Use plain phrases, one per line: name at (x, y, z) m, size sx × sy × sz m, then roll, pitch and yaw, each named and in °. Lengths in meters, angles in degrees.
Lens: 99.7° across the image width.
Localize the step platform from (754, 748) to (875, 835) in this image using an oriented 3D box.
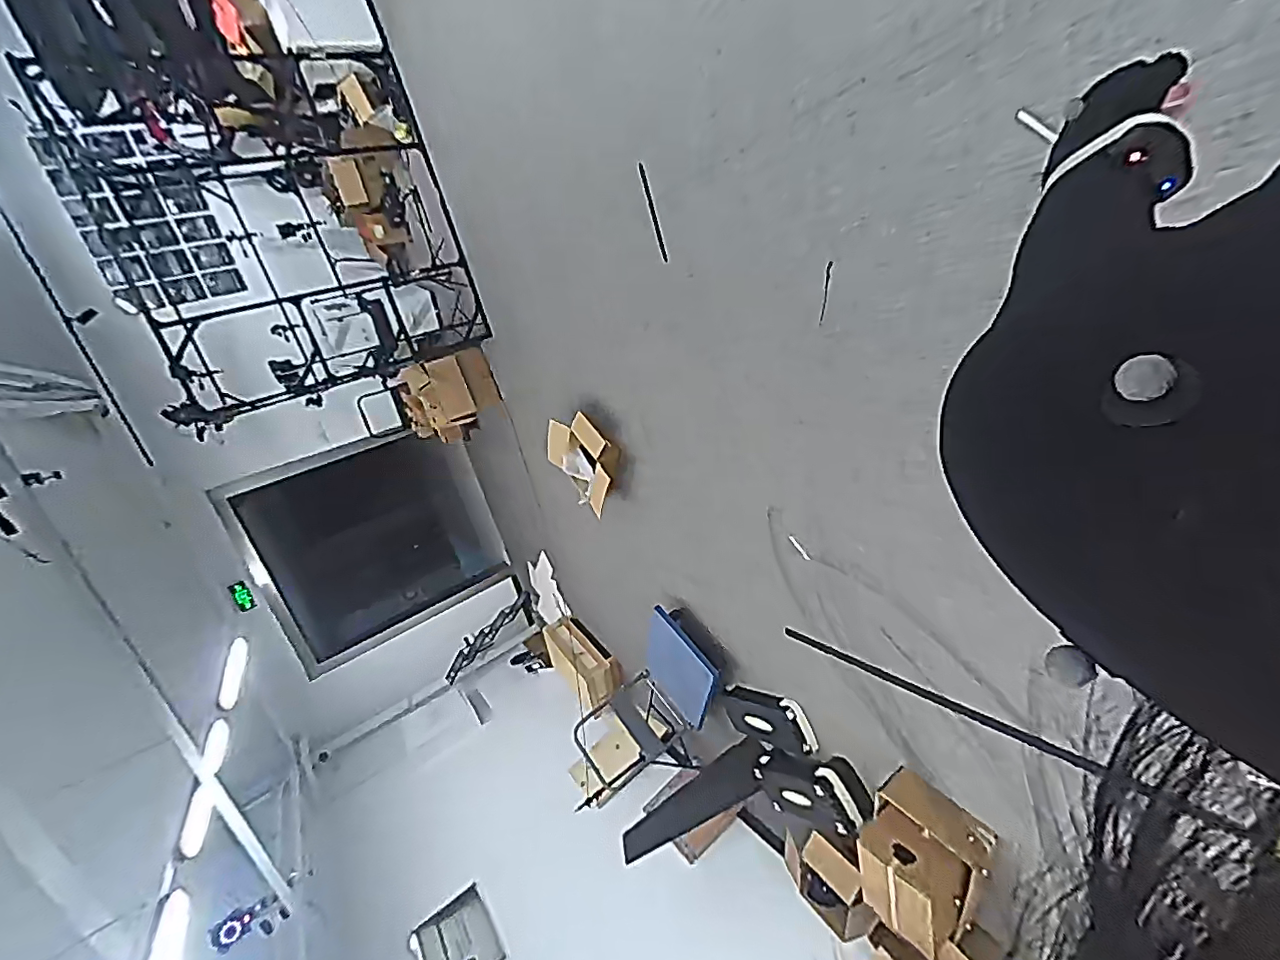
step platform at (0.895, 1.641, 2.873) m, size 0.286 × 0.204 × 0.684 m, roll 60°, pitch 151°, yaw 8°
